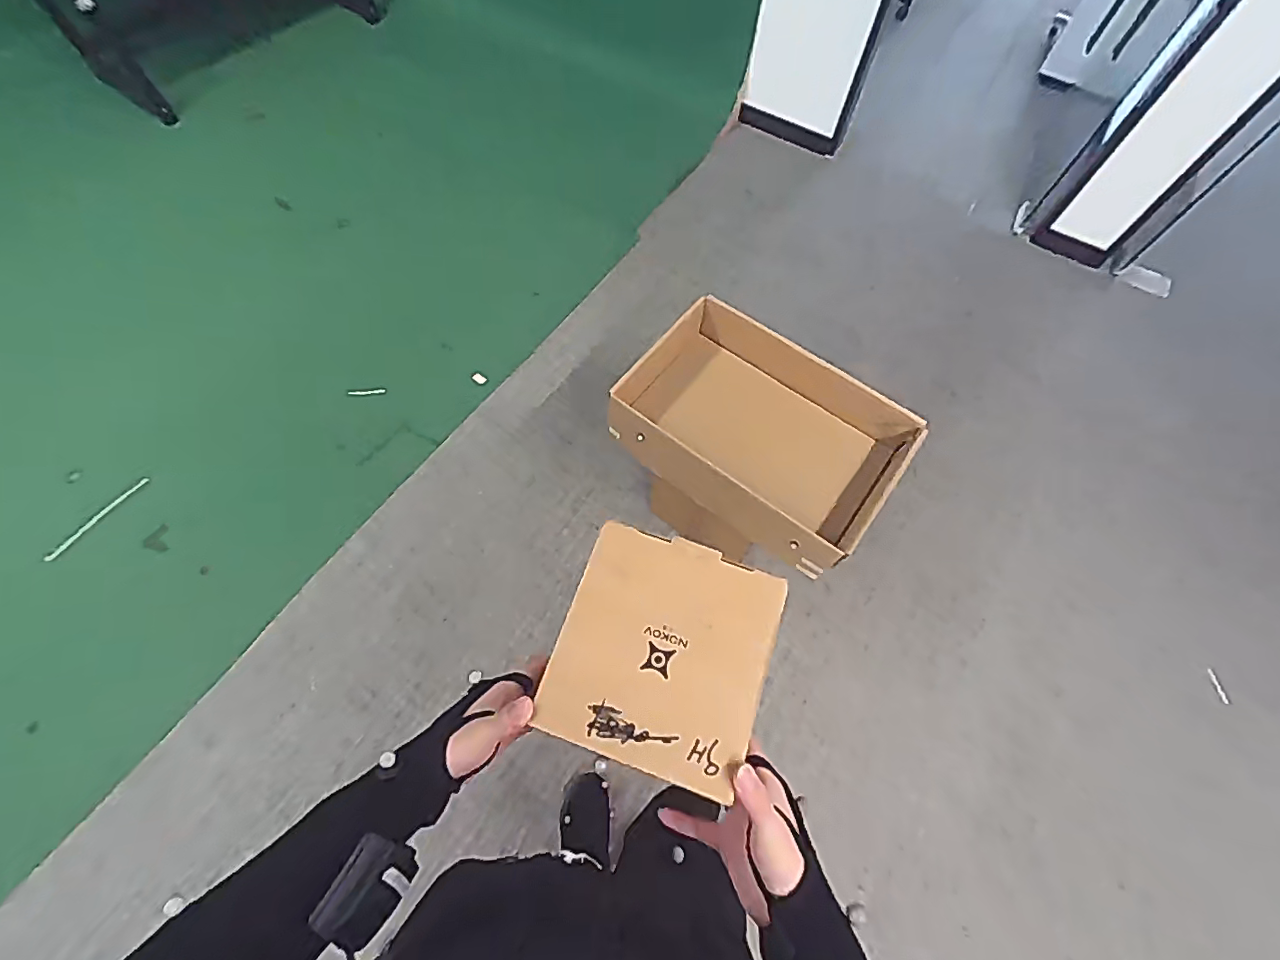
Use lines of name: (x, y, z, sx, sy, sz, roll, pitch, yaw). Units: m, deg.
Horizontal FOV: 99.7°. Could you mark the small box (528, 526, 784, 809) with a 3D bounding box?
small box: (0.017, 0.170, 0.506, 0.168, 0.176, 0.179, 18, 69, 8)
